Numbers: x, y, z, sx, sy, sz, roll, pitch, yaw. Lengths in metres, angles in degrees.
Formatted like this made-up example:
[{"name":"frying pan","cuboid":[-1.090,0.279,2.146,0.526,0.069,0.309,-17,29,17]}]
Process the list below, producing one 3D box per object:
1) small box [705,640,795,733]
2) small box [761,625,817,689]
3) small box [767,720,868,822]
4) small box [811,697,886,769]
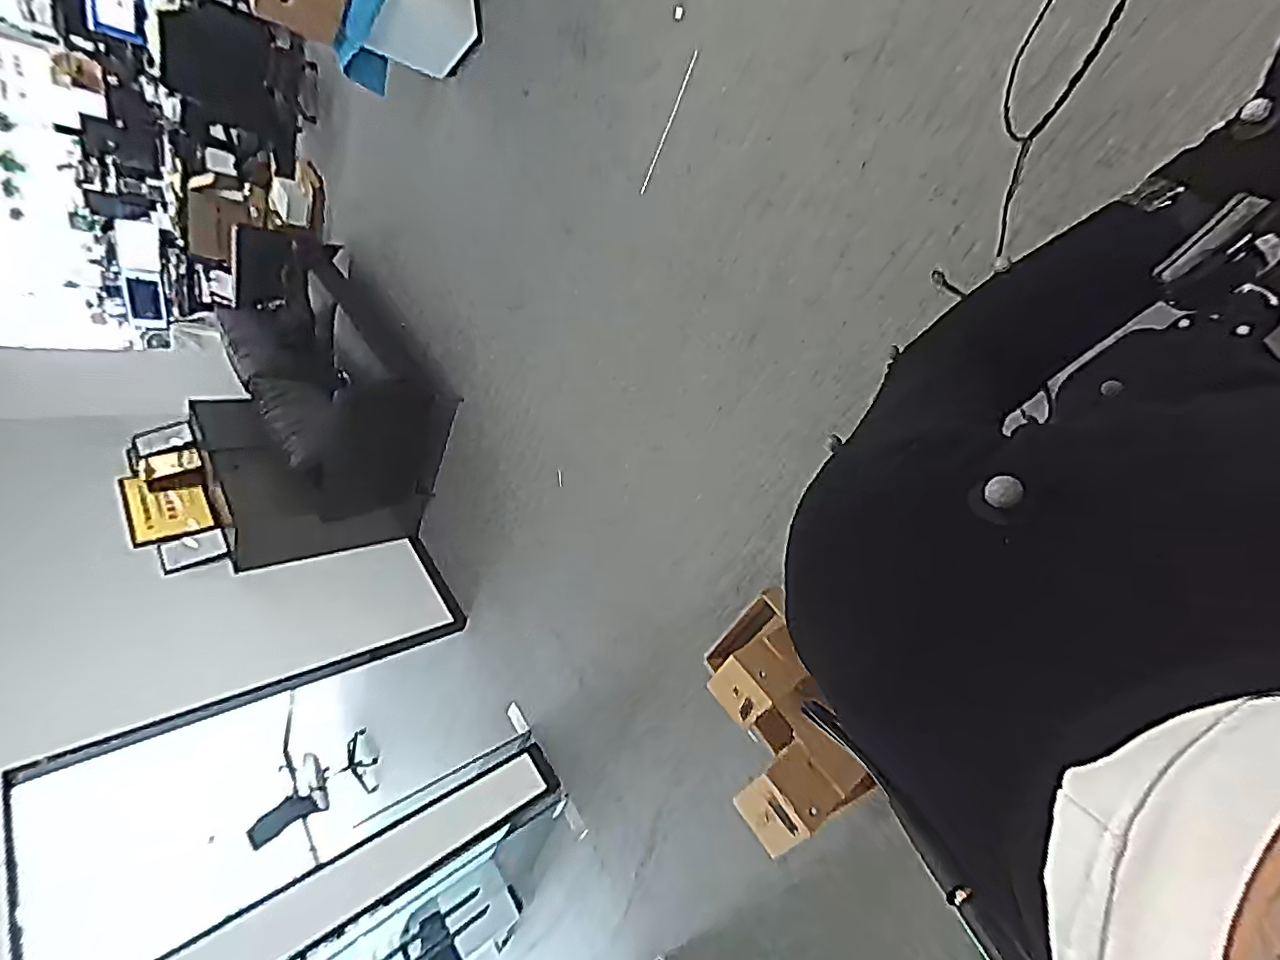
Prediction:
[{"name":"small box","cuboid":[0.341,0.625,1.655,0.179,0.176,0.168,47,125,28]},{"name":"small box","cuboid":[0.454,0.605,1.774,0.168,0.176,0.179,50,128,25]},{"name":"small box","cuboid":[0.503,0.811,1.531,0.179,0.176,0.168,49,128,28]},{"name":"small box","cuboid":[0.617,0.796,1.647,0.168,0.176,0.179,50,129,27]}]
